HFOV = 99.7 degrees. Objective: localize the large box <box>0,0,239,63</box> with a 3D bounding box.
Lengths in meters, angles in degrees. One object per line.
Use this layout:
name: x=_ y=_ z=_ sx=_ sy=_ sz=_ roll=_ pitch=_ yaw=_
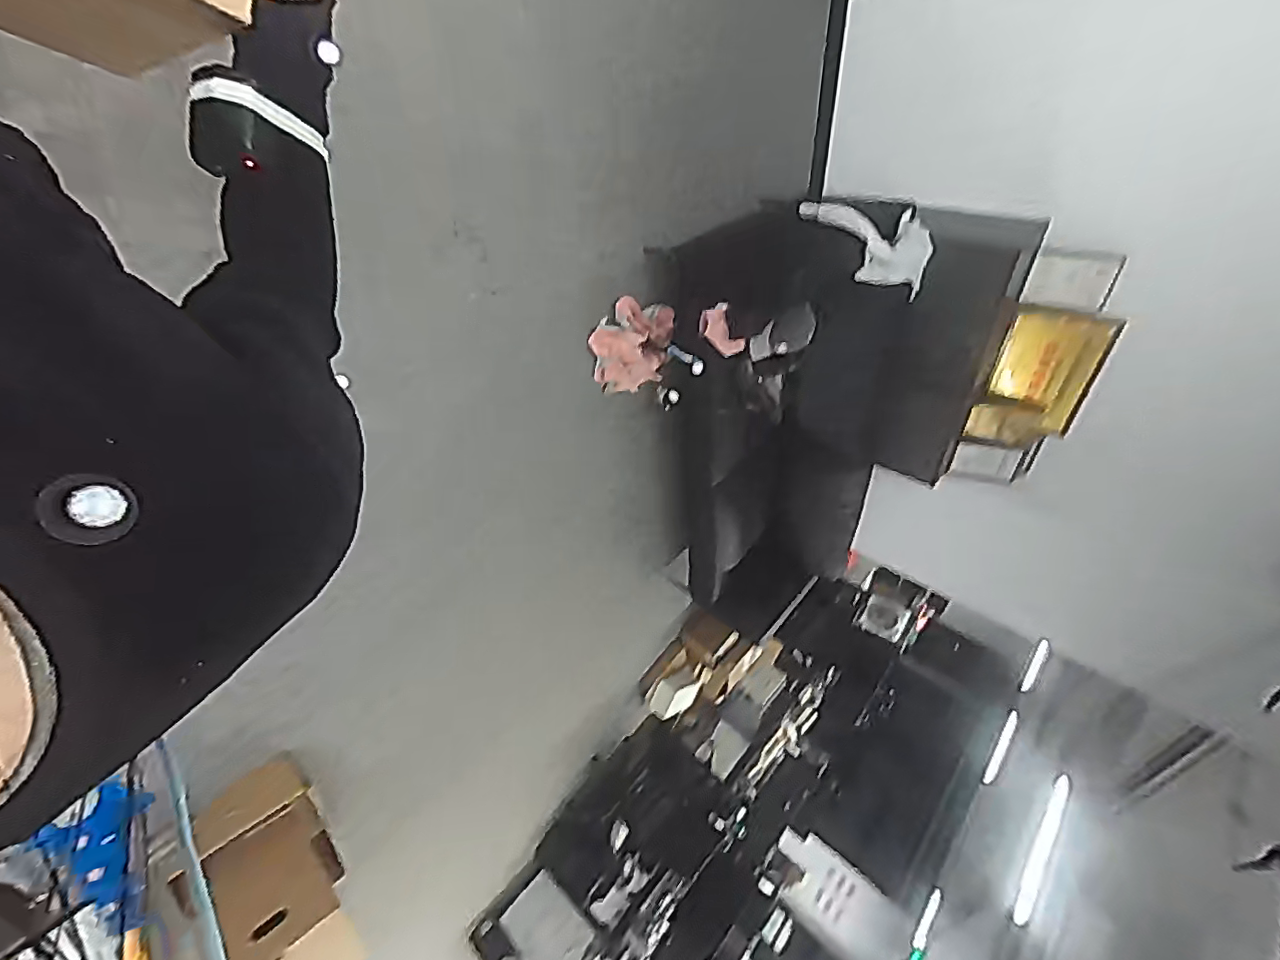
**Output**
large box: x=-0.502 y=-0.502 z=0.283 sx=0.408 sy=0.320 sz=0.320 roll=-10 pitch=113 yaw=-53
